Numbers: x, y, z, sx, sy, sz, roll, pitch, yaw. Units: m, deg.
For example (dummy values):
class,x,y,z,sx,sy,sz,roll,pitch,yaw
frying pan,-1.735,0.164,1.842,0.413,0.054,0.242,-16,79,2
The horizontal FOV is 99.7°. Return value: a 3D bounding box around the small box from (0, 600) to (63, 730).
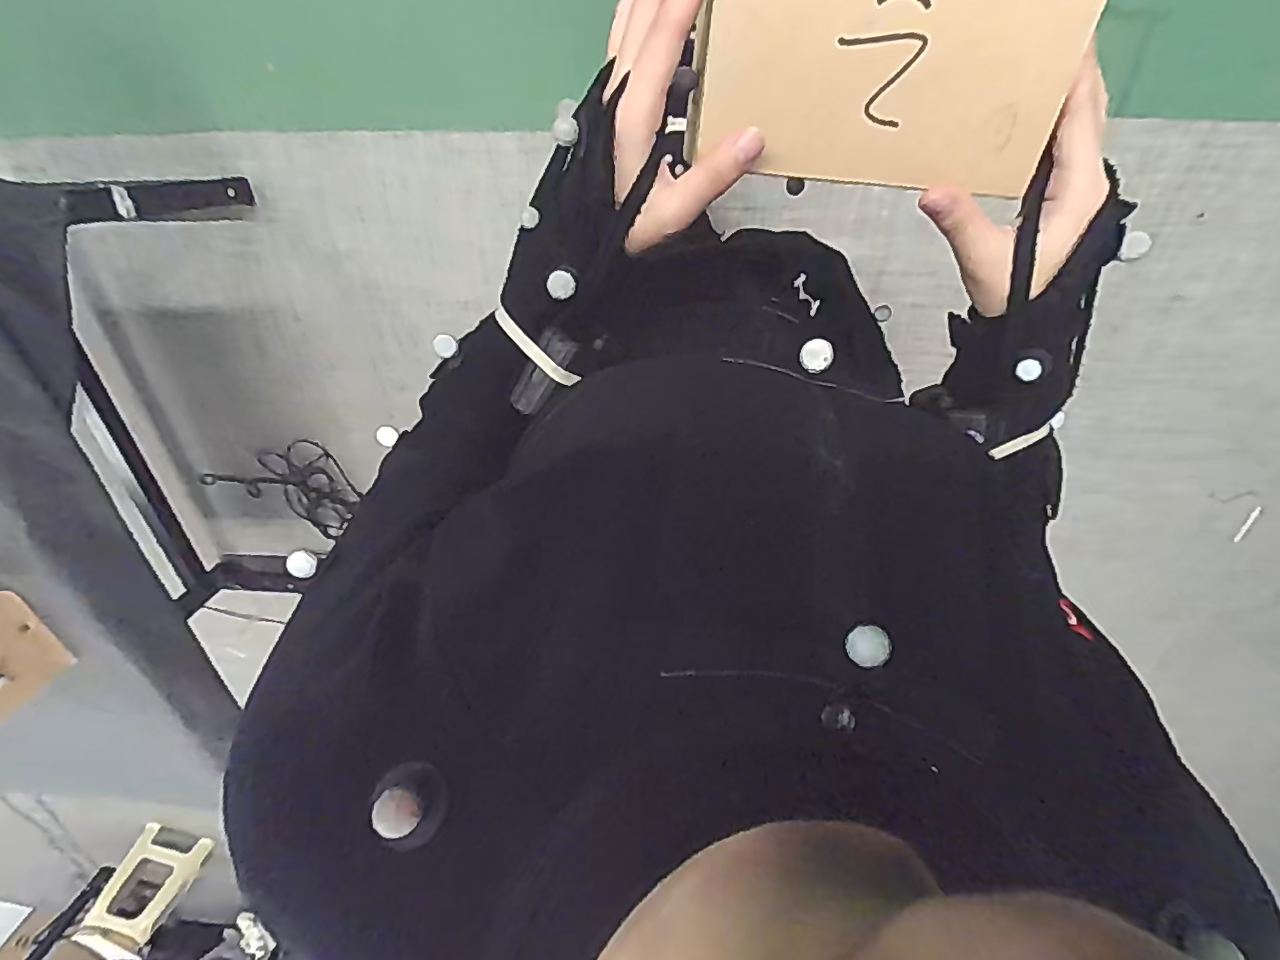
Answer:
class,x,y,z,sx,sy,sz,roll,pitch,yaw
small box,-1.068,0.297,0.833,0.179,0.176,0.168,-3,121,8
